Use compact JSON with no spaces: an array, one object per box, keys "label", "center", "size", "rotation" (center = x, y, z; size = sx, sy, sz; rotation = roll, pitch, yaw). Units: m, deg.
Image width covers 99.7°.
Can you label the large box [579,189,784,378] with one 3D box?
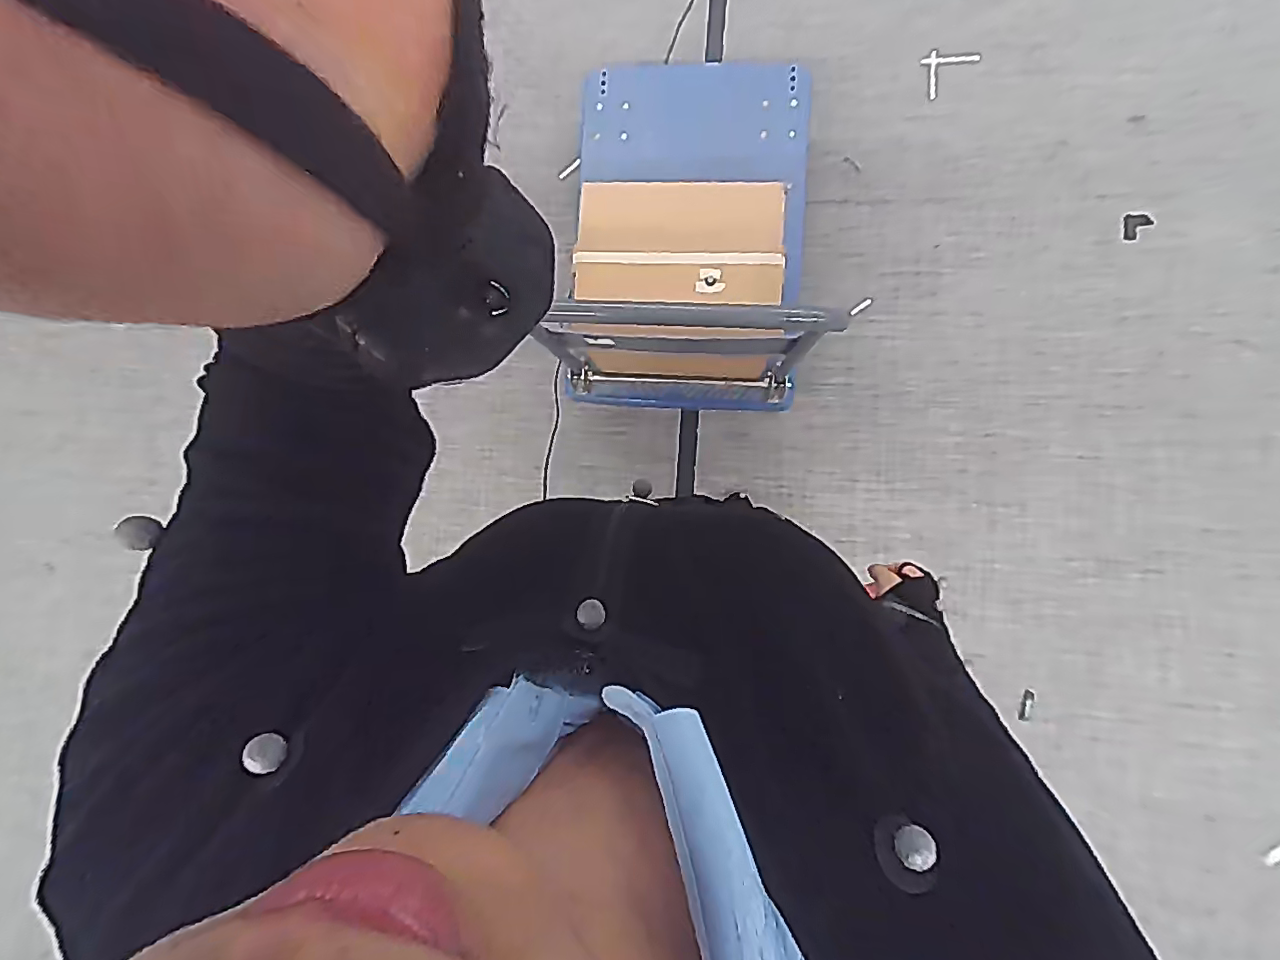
[{"label":"large box","center":[0.092,-0.419,1.220],"size":[0.408,0.320,0.320],"rotation":[3,88,6]}]
